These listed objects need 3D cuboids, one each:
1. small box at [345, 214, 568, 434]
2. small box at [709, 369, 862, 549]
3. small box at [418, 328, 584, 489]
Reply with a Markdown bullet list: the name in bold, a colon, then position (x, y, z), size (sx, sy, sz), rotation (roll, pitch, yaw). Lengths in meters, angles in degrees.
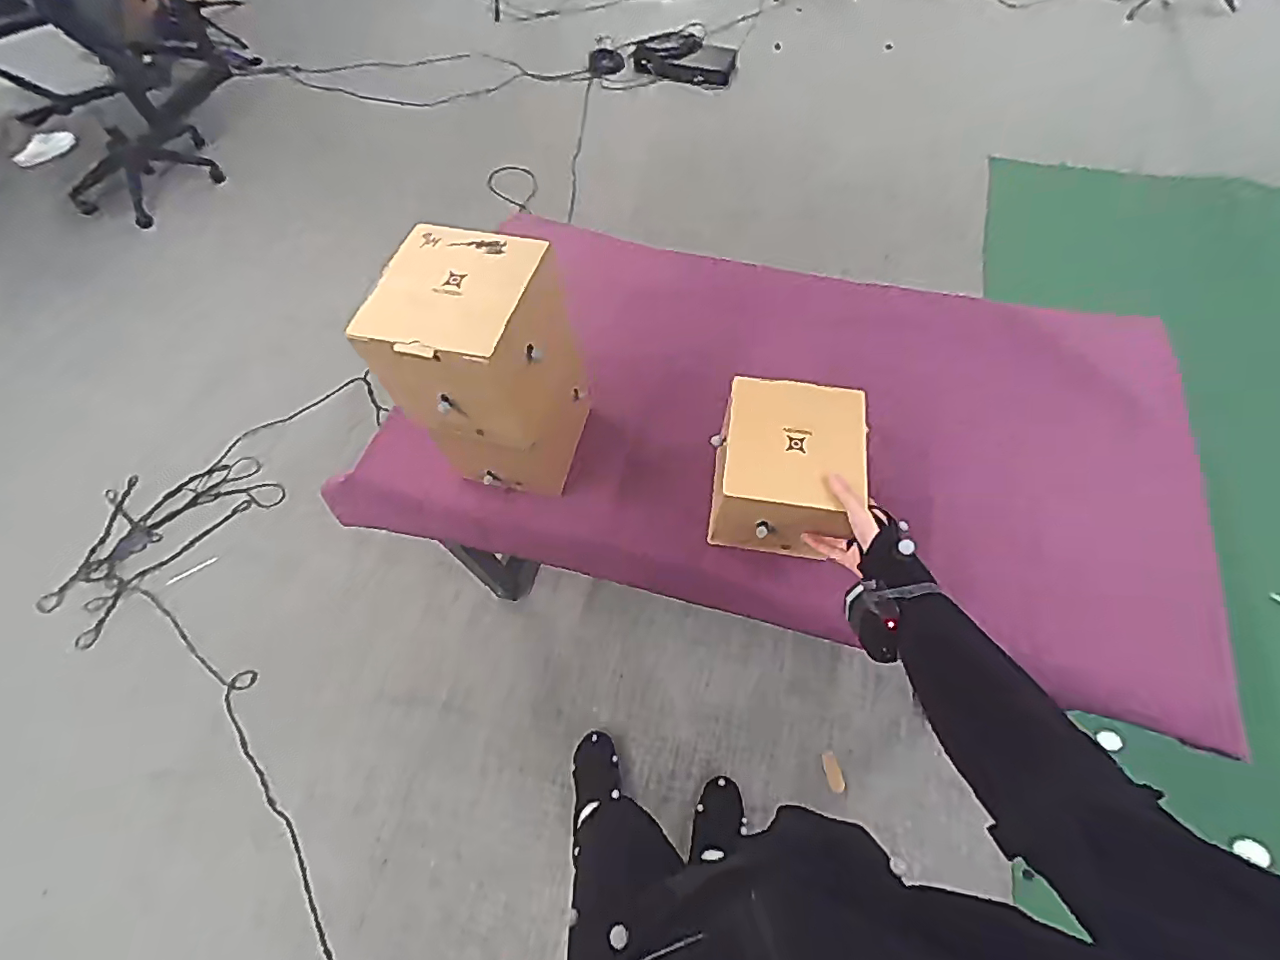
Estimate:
- **small box**: position (-0.196, -0.177, 0.641), size (0.168, 0.176, 0.179), rotation (12, 65, 10)
- **small box**: position (0.185, -0.021, 0.720), size (0.168, 0.176, 0.179), rotation (7, 63, 5)
- **small box**: position (-0.186, -0.112, 0.790), size (0.168, 0.176, 0.179), rotation (11, 64, 9)
